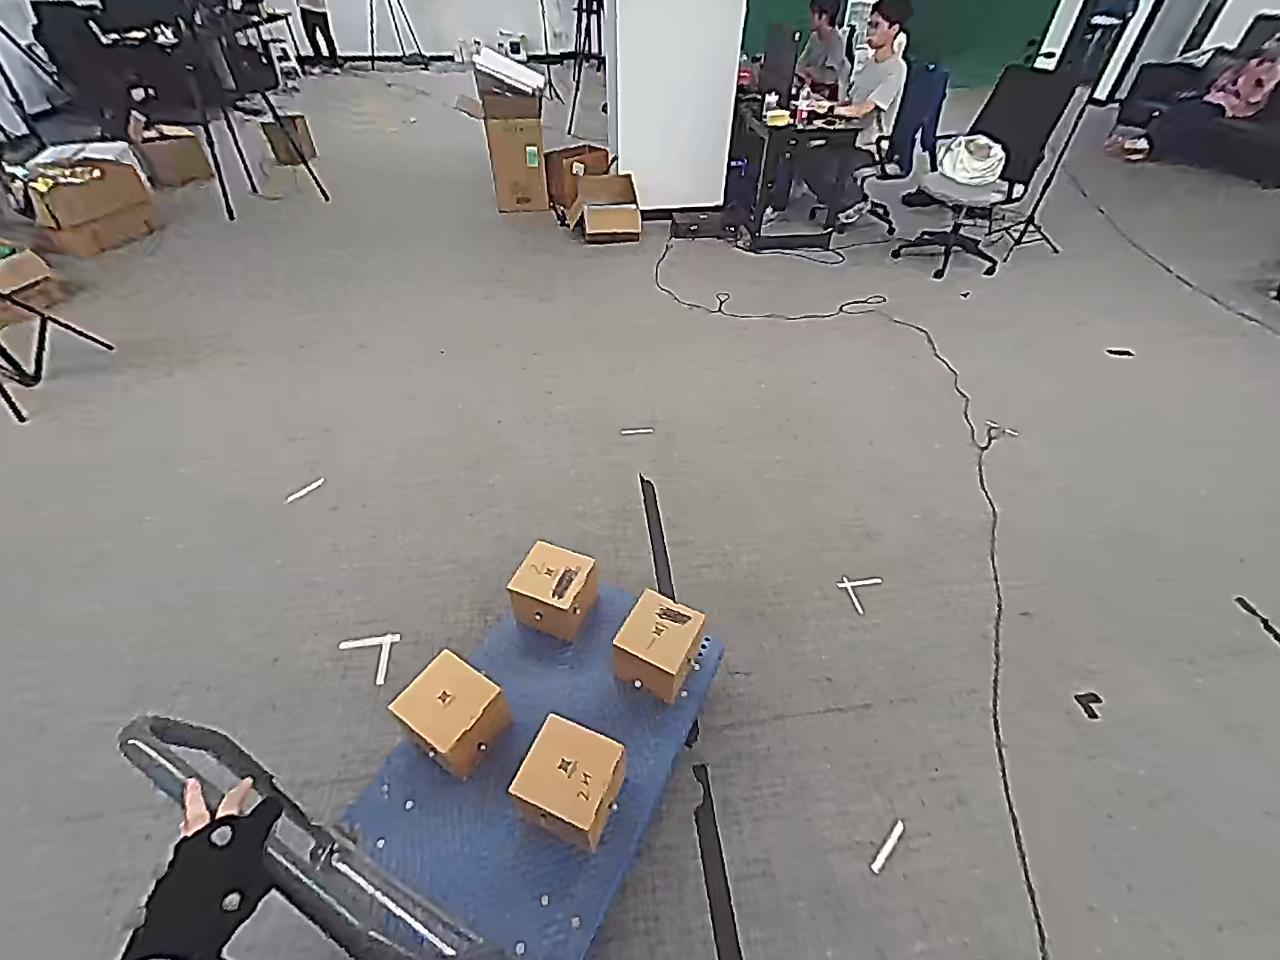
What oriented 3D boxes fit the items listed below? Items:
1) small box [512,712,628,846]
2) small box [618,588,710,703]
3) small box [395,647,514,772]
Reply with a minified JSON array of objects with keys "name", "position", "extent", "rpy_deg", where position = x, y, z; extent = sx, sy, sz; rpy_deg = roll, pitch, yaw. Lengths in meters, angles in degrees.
[{"name":"small box","position":[-0.136,0.620,1.117],"extent":[0.179,0.176,0.168],"rpy_deg":[17,47,17]},{"name":"small box","position":[0.056,0.409,1.335],"extent":[0.168,0.176,0.179],"rpy_deg":[22,49,20]},{"name":"small box","position":[-0.409,0.520,1.217],"extent":[0.179,0.176,0.168],"rpy_deg":[26,50,22]}]
